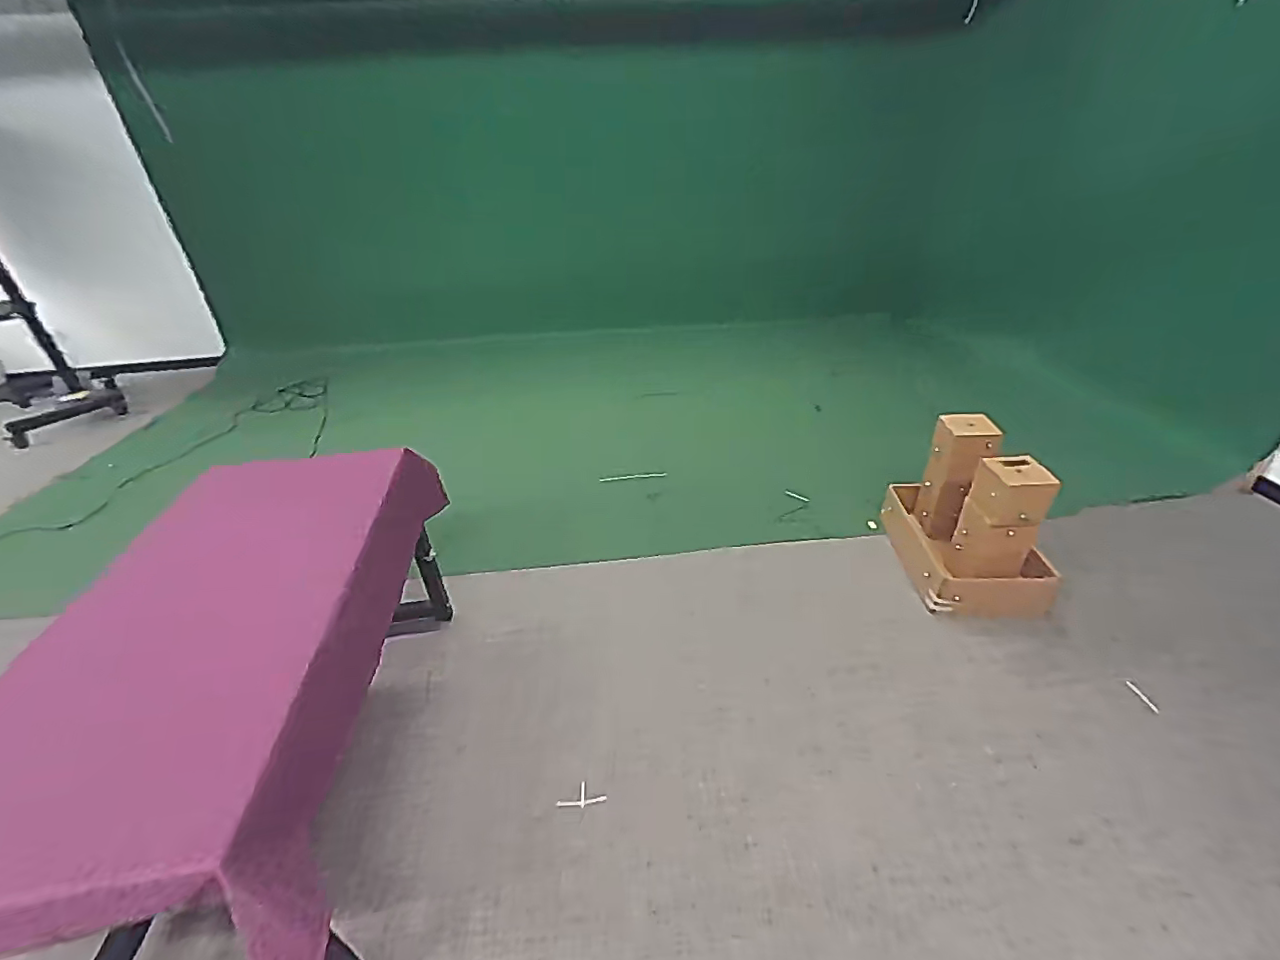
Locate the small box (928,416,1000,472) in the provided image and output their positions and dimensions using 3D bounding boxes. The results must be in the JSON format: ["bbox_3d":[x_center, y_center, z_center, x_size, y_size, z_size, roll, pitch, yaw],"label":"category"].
[{"bbox_3d":[1.269,-0.140,2.130,0.179,0.176,0.168,-1,33,5],"label":"small box"}]

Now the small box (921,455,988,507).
[{"bbox_3d":[1.282,0.000,2.217,0.179,0.176,0.168,0,34,7],"label":"small box"}]

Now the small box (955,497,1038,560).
[{"bbox_3d":[1.271,0.175,1.943,0.179,0.176,0.168,-2,32,4],"label":"small box"}]
